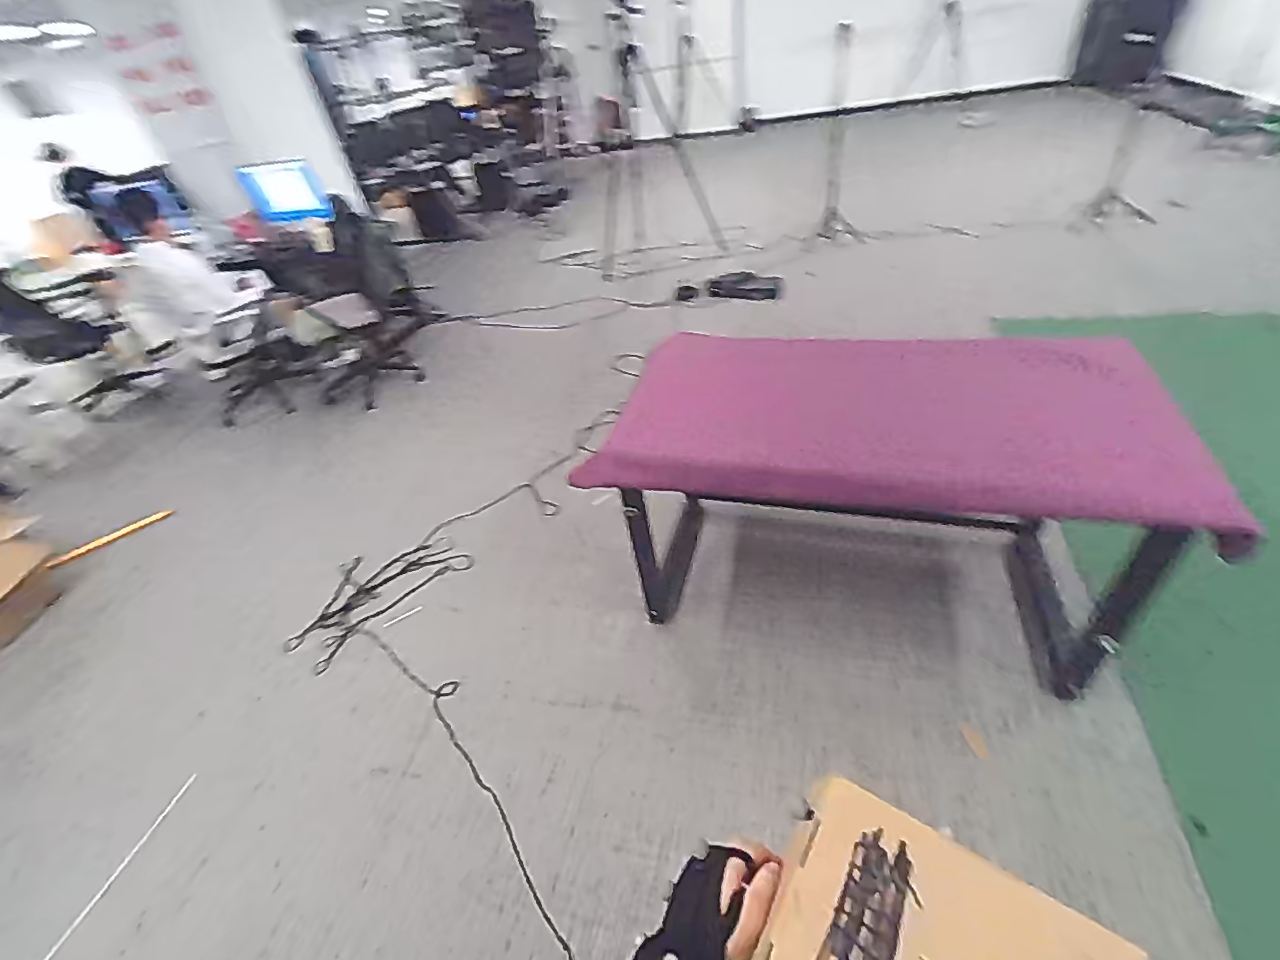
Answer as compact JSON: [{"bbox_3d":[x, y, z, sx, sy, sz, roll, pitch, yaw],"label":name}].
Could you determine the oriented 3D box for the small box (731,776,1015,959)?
[{"bbox_3d":[0.202,0.414,0.506,0.168,0.176,0.179,28,68,25],"label":"small box"}]
